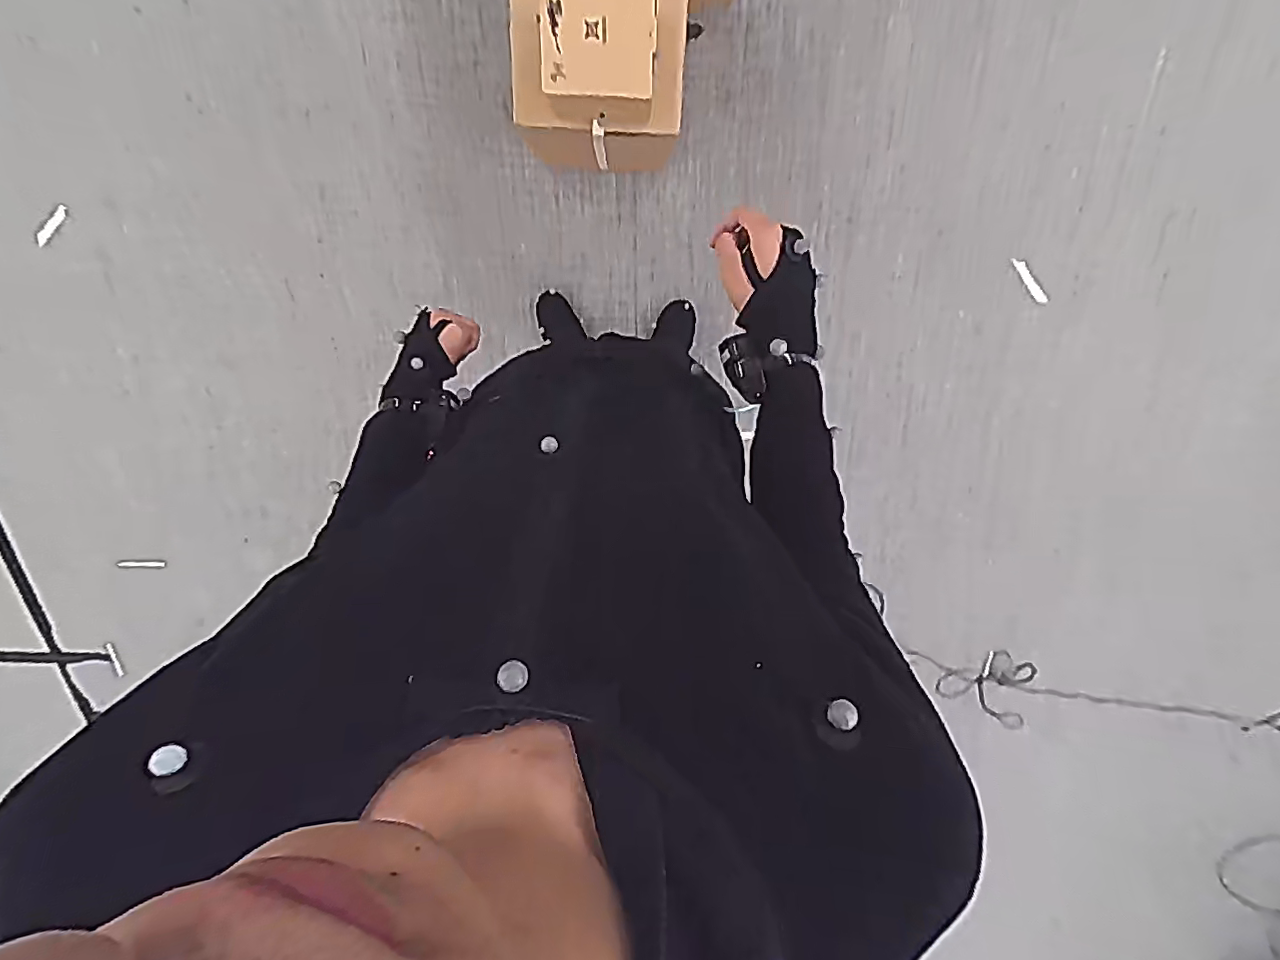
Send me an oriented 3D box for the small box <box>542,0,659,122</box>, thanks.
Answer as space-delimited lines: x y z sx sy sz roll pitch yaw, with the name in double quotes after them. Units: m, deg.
-0.063 -0.709 0.895 0.179 0.176 0.168 2 113 -2 "small box"
